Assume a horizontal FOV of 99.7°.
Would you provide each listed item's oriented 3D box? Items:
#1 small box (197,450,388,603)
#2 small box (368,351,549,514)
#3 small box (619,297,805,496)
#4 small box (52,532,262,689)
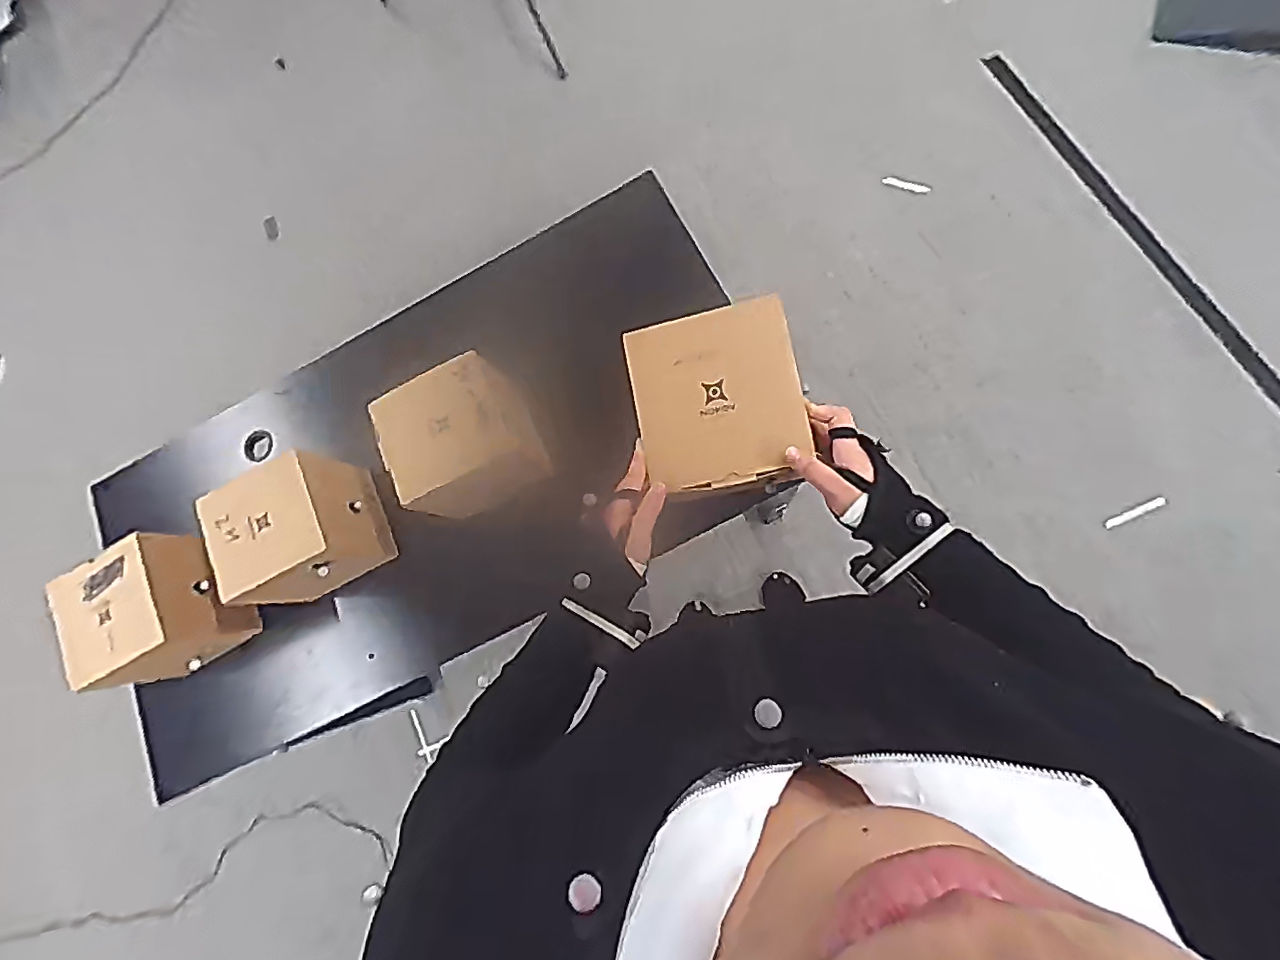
[{"bbox_3d":[-0.525,0.077,0.845,0.179,0.176,0.168,-28,75,4],"label":"small box"},{"bbox_3d":[-0.267,-0.059,0.825,0.179,0.176,0.168,-26,76,5],"label":"small box"},{"bbox_3d":[0.087,-0.079,0.623,0.168,0.176,0.179,-11,83,11],"label":"small box"},{"bbox_3d":[-0.760,0.203,0.865,0.168,0.176,0.179,-30,77,4],"label":"small box"}]
